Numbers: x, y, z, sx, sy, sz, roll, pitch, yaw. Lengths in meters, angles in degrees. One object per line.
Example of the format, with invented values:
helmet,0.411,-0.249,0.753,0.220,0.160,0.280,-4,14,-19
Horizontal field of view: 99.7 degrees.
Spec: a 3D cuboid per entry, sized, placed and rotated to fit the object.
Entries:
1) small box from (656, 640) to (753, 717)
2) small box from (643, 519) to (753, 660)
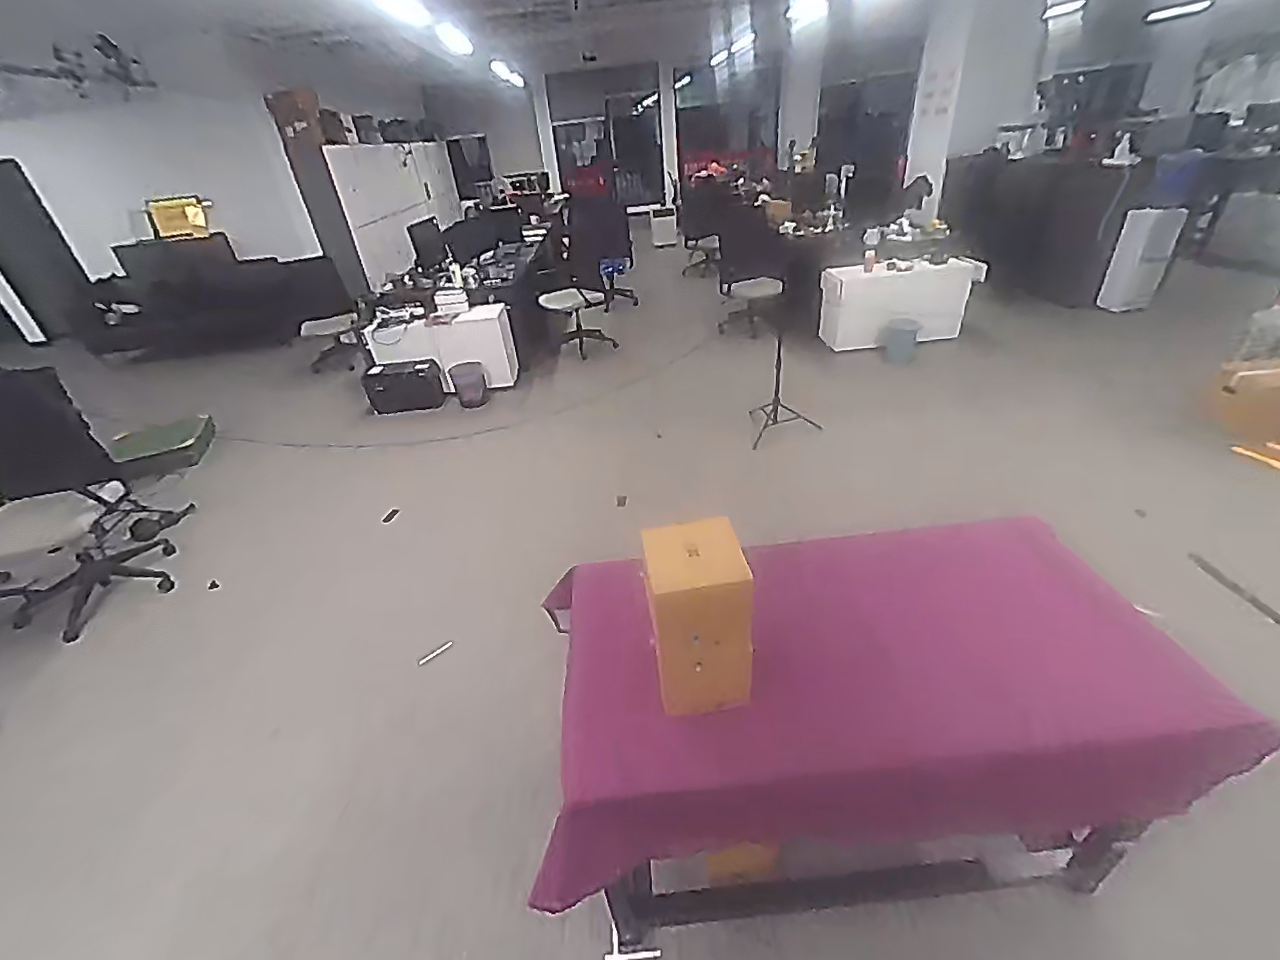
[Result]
small box,0.118,0.334,1.065,0.168,0.176,0.179,-7,32,-2
small box,0.099,0.196,0.979,0.168,0.176,0.179,-8,33,-3
